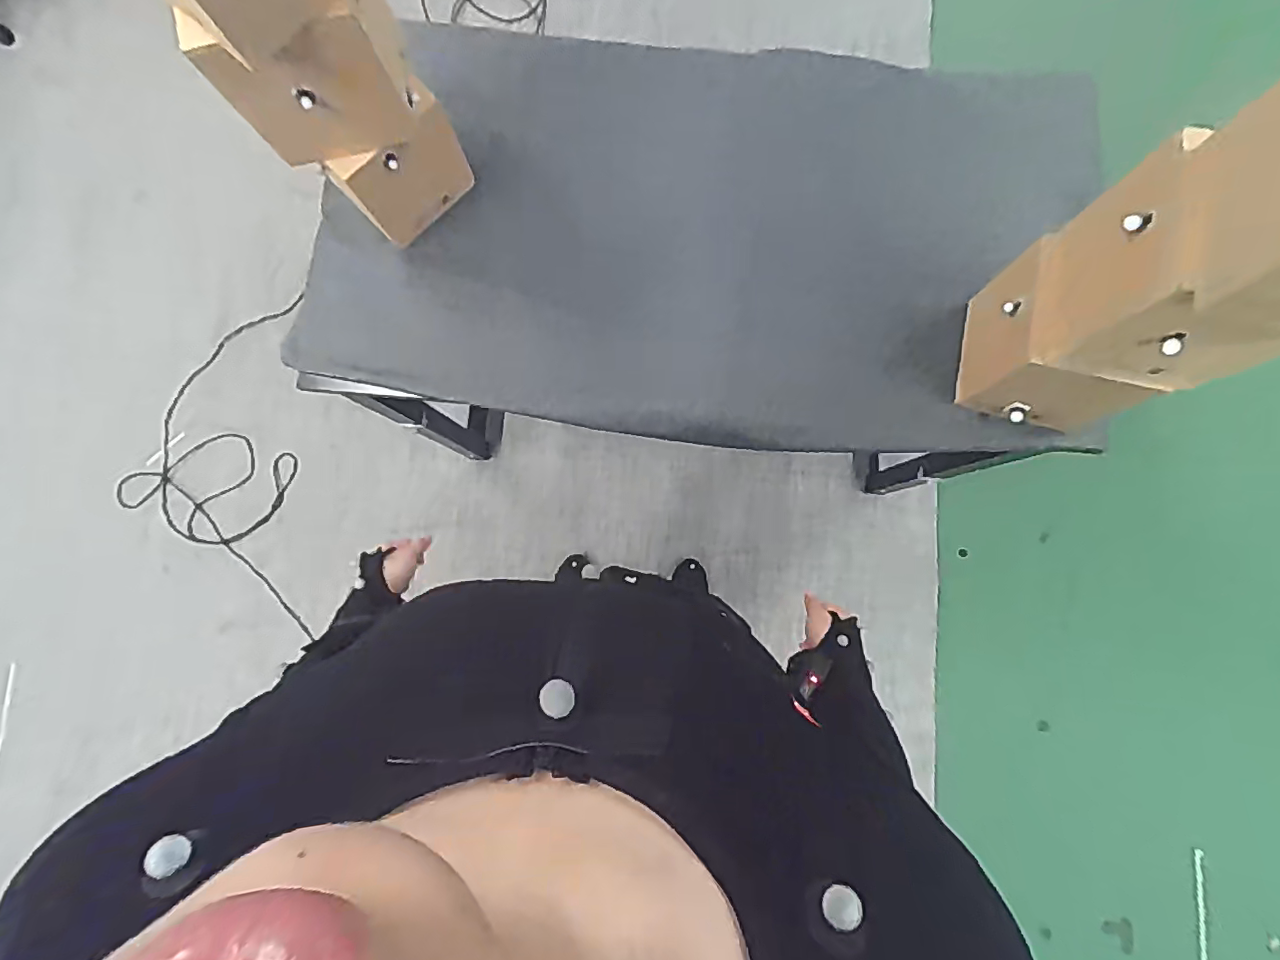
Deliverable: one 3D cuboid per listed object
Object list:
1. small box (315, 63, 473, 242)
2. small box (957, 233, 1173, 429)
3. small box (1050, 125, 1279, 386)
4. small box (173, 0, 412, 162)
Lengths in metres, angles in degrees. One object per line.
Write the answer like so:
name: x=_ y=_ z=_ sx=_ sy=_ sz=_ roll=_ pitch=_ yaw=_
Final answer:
small box: x=-0.378 y=-0.489 z=0.781 sx=0.168 sy=0.176 sz=0.179 roll=-44 pitch=84 yaw=-4
small box: x=0.553 y=-0.186 z=0.717 sx=0.168 sy=0.176 sz=0.179 roll=13 pitch=81 yaw=5
small box: x=0.563 y=-0.215 z=0.557 sx=0.168 sy=0.176 sz=0.179 roll=11 pitch=79 yaw=4
small box: x=-0.382 y=-0.505 z=0.617 sx=0.179 sy=0.176 sz=0.168 roll=-13 pitch=83 yaw=0
